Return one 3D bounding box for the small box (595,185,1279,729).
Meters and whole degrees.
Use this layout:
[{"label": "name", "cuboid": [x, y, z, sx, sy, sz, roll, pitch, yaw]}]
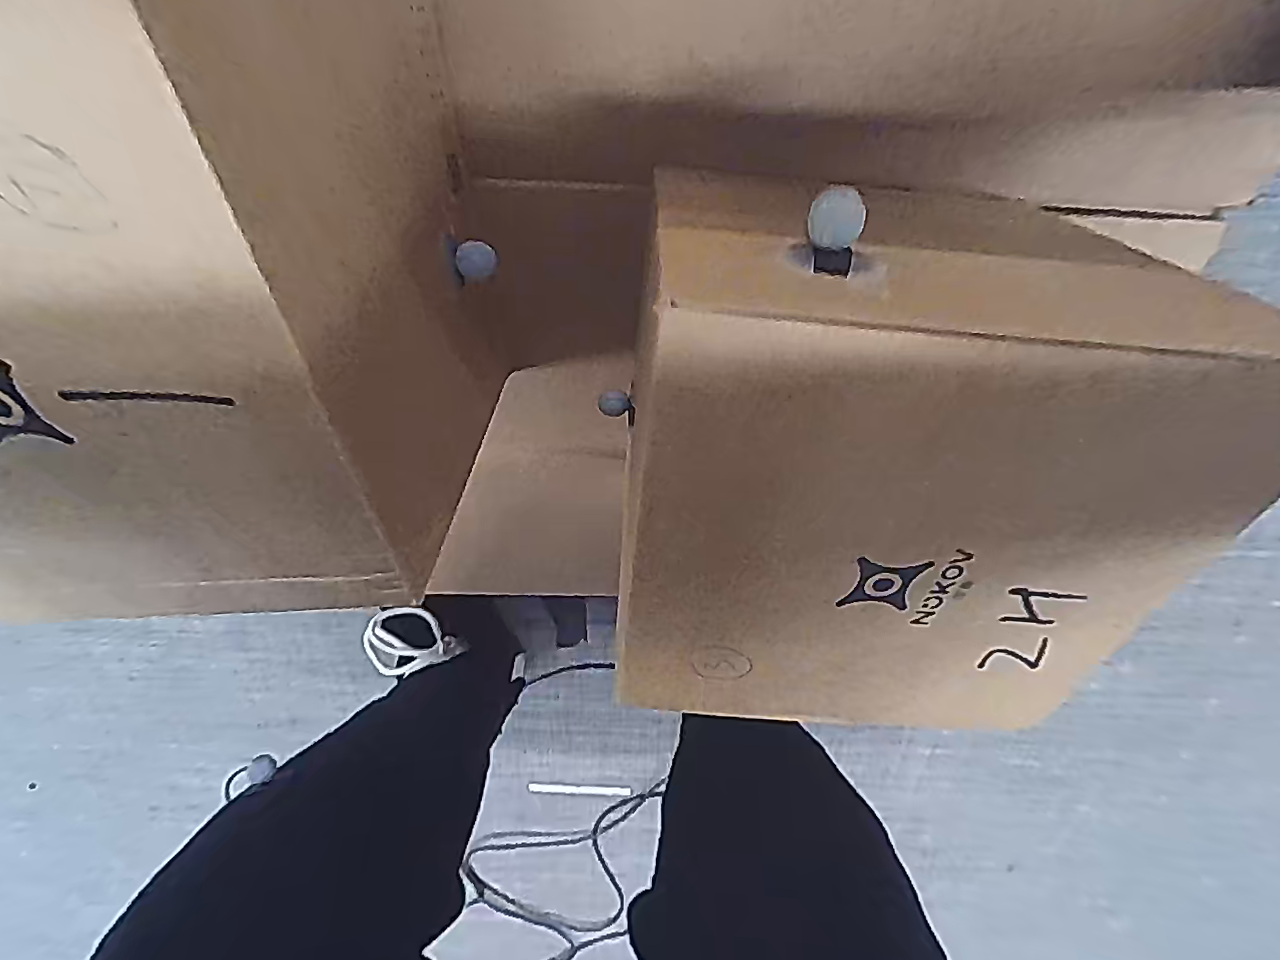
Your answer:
[{"label": "small box", "cuboid": [0.076, -0.018, 0.234, 0.179, 0.176, 0.168, 3, 128, -4]}]
